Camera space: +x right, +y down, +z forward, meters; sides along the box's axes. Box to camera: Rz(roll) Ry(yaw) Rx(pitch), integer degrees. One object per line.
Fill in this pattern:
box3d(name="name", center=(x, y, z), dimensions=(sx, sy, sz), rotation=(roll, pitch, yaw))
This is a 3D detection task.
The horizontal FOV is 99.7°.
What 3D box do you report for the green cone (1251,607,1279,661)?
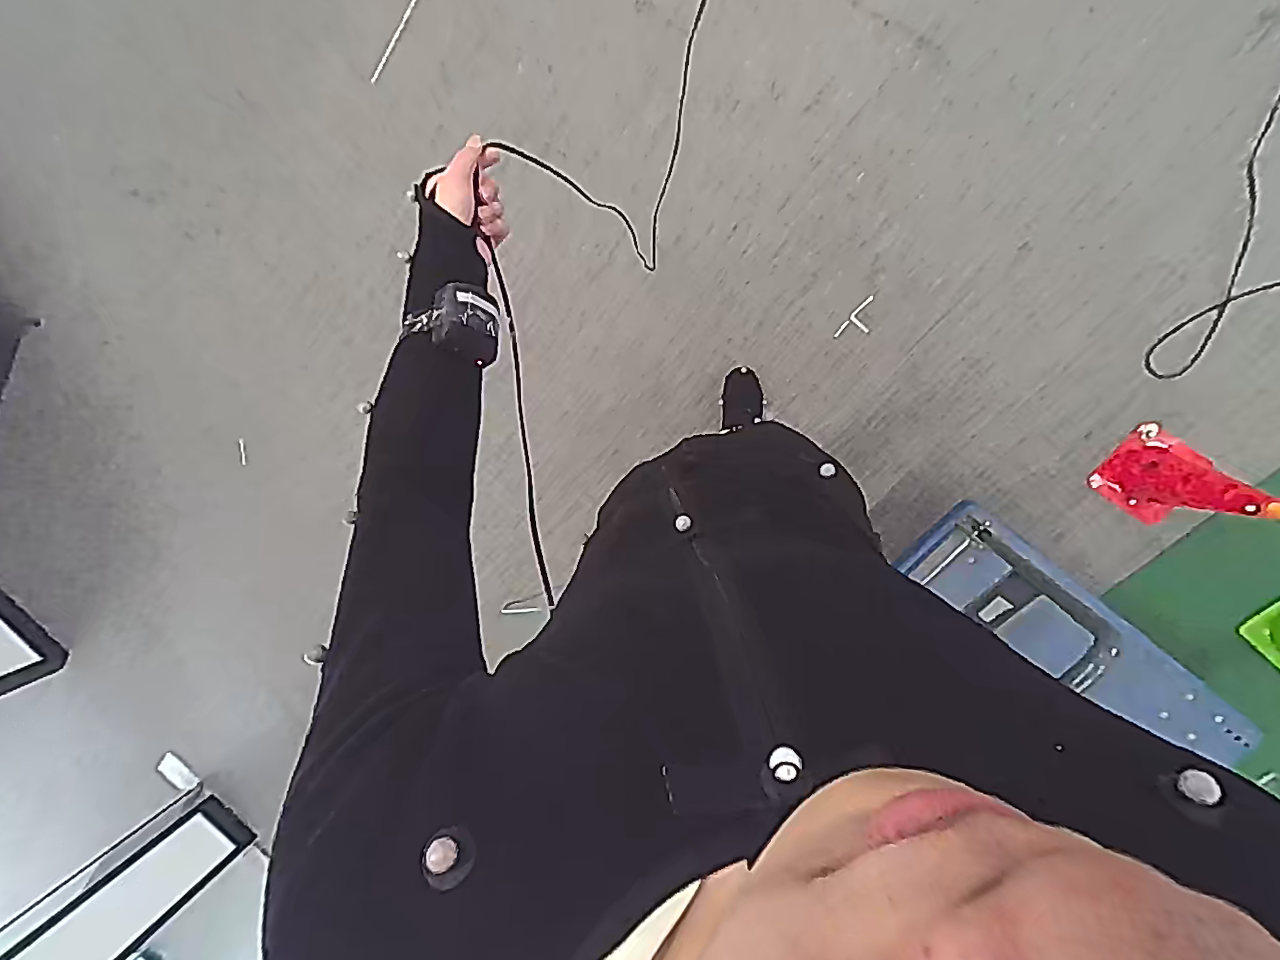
box3d(name="green cone", center=(1.616, 0.405, 1.159), dimensions=(0.202, 0.368, 0.200), rotation=(42, 107, 1))
